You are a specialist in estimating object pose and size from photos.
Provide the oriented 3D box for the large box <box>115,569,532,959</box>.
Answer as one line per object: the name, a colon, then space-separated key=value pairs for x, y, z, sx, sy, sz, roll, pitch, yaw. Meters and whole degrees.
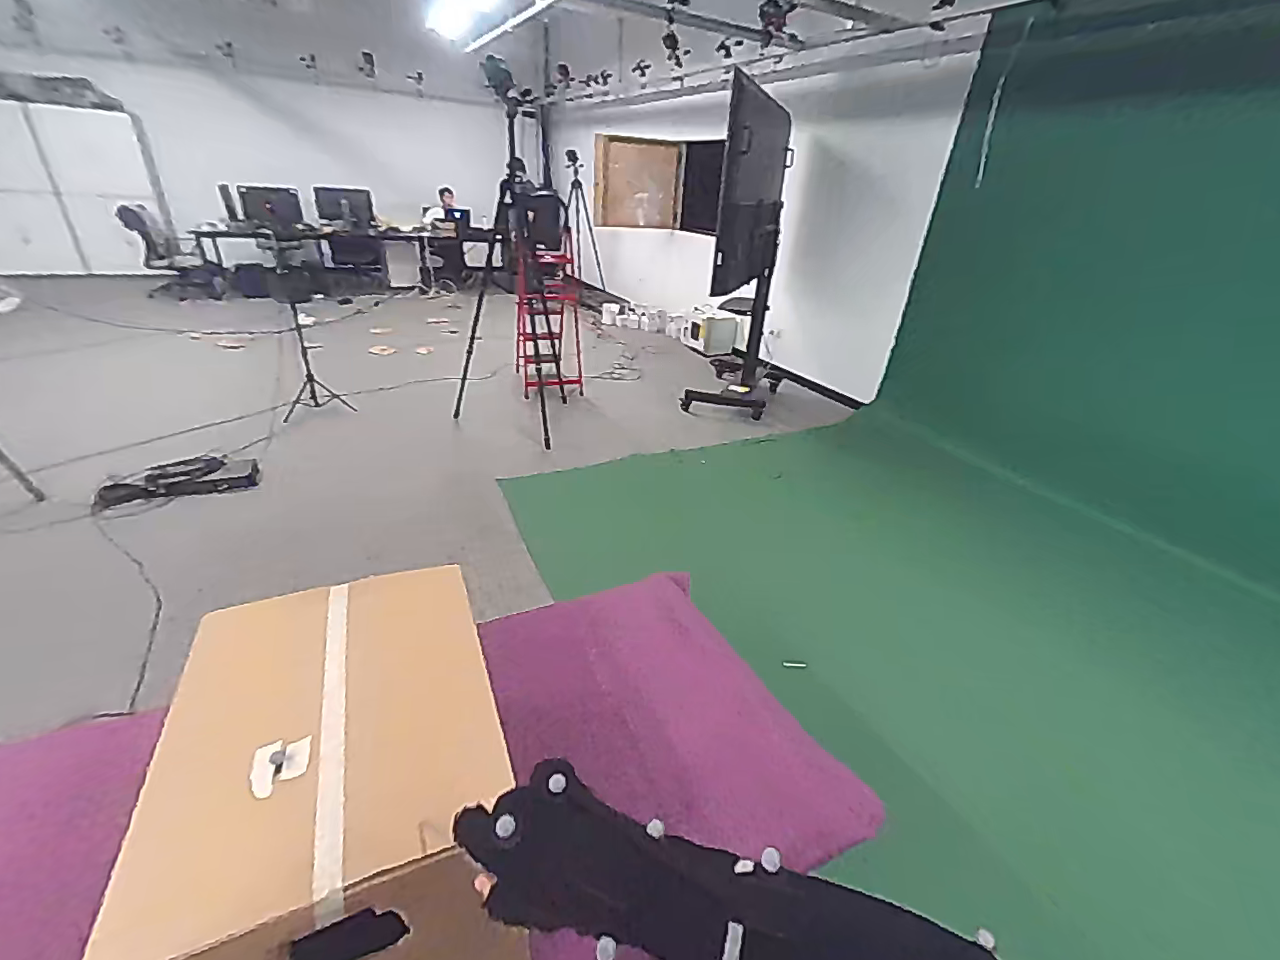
large box: x=-0.335 y=0.372 z=0.667 sx=0.320 sy=0.320 sz=0.408 roll=-9 pitch=32 yaw=-23
